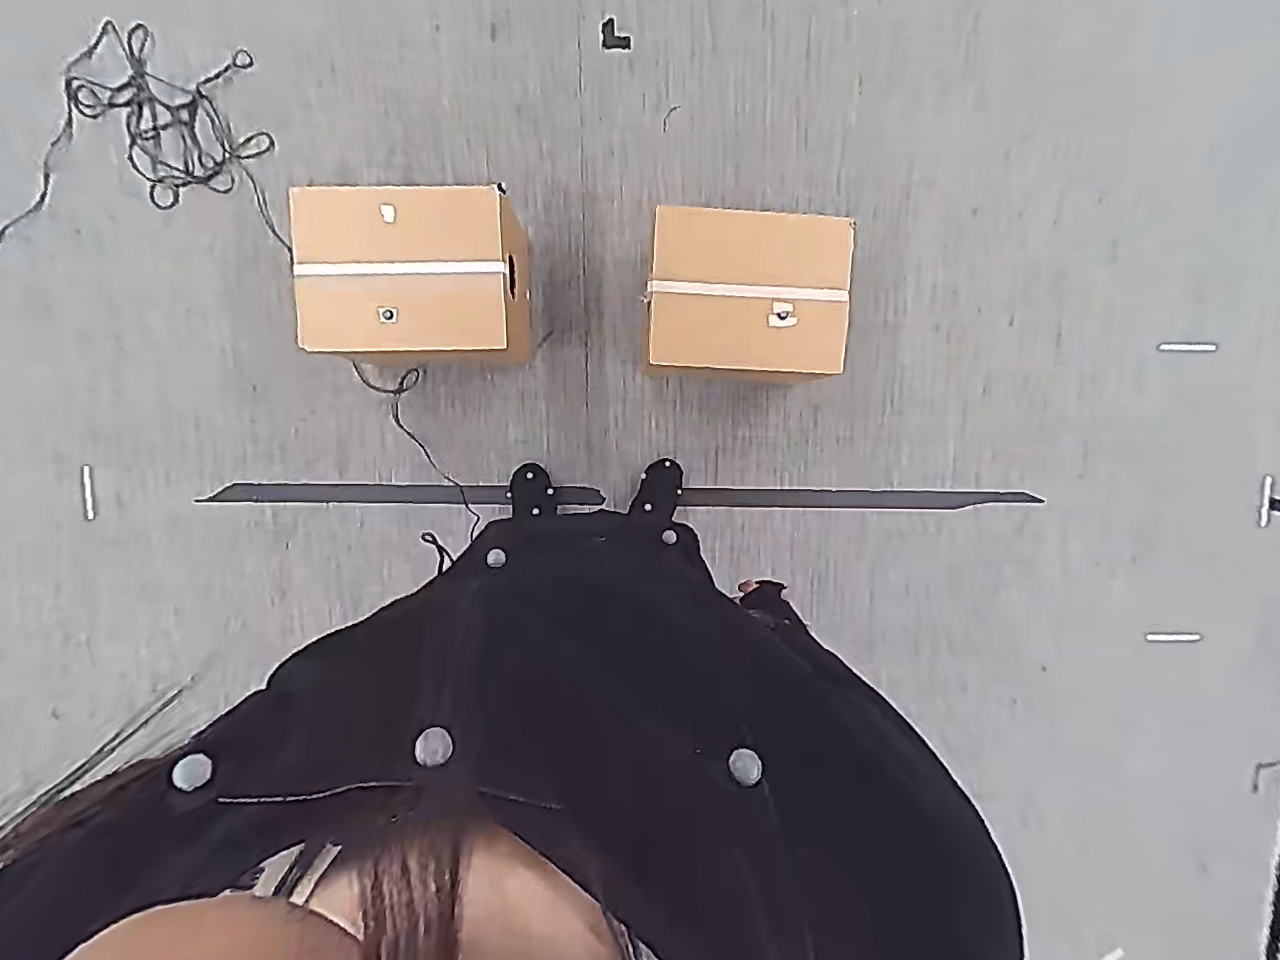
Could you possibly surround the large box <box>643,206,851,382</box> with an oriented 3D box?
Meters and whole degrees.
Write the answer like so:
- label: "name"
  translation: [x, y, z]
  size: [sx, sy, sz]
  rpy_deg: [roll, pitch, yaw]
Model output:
- label: "large box"
  translation: [0.217, -0.402, 1.249]
  size: [0.408, 0.320, 0.320]
  rpy_deg: [3, 96, -3]
